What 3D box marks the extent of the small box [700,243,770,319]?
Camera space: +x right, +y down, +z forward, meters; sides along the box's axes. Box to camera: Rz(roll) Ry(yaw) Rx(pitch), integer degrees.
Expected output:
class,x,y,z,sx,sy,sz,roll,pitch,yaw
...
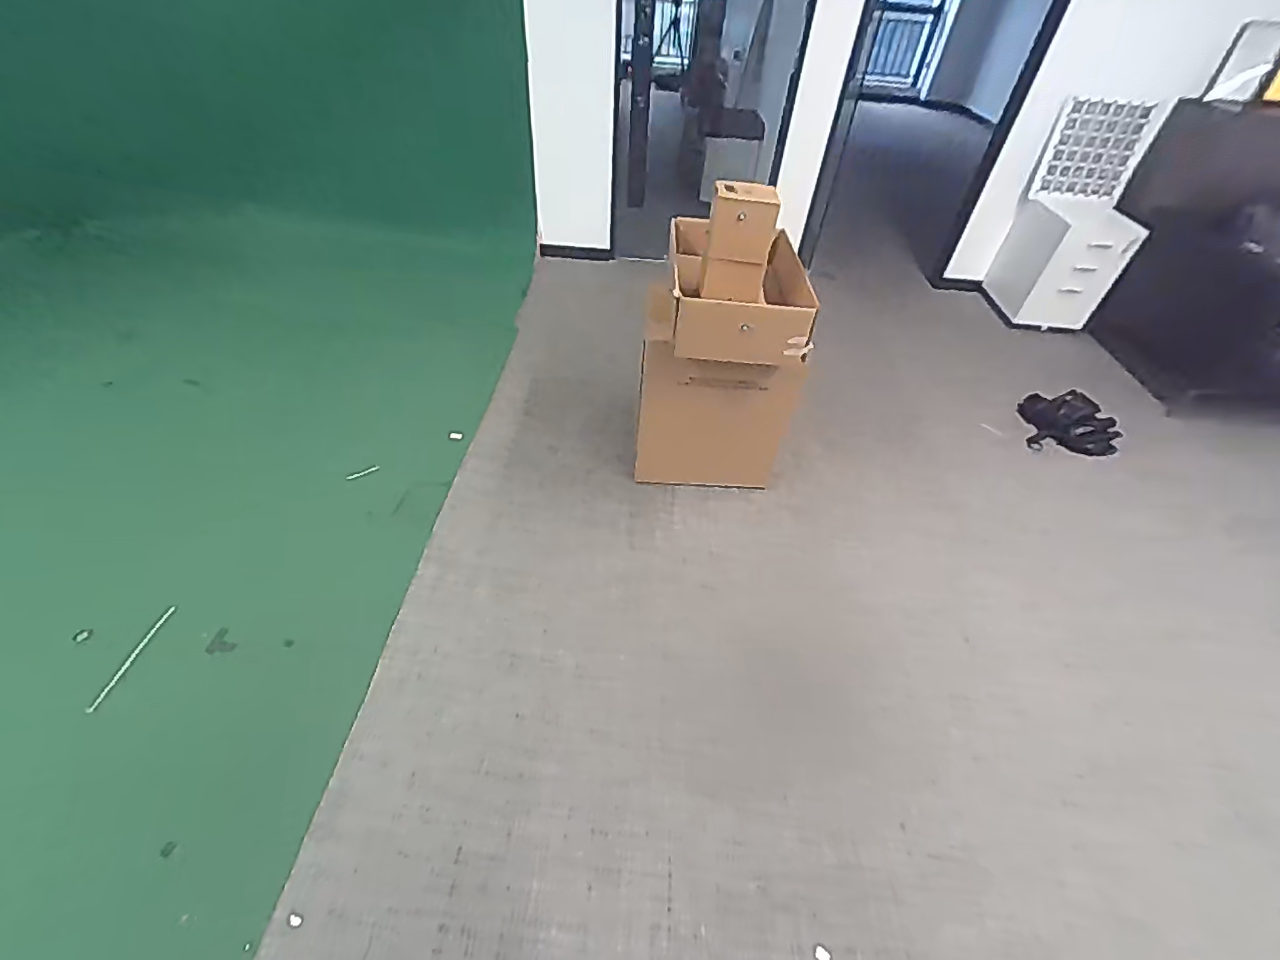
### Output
class,x,y,z,sx,sy,sz,roll,pitch,yaw
small box,0.291,-0.622,1.697,0.179,0.176,0.168,5,42,-3

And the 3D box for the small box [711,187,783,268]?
class,x,y,z,sx,sy,sz,roll,pitch,yaw
small box,0.305,-0.738,1.582,0.179,0.176,0.168,7,43,-1
